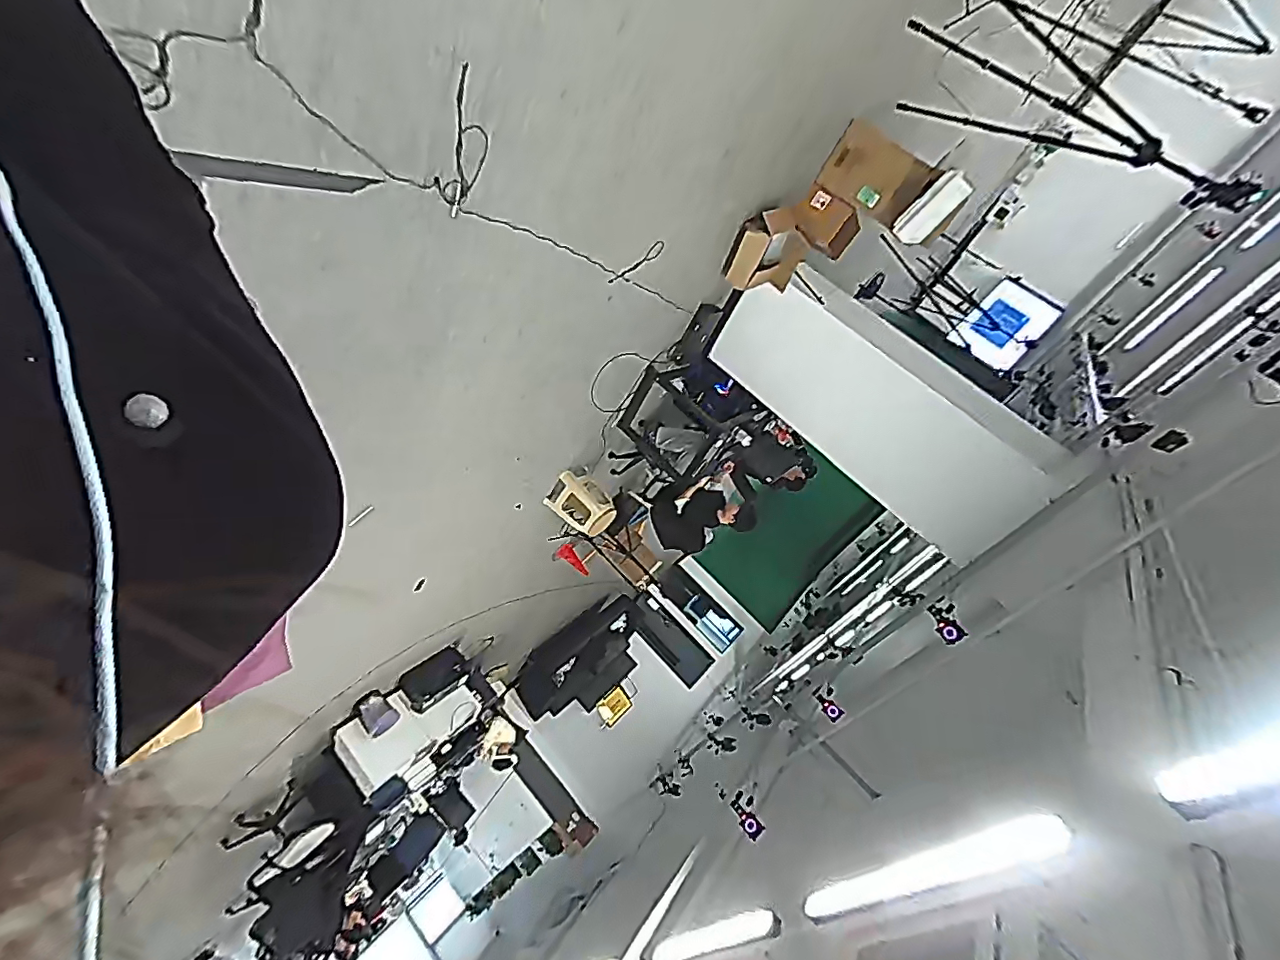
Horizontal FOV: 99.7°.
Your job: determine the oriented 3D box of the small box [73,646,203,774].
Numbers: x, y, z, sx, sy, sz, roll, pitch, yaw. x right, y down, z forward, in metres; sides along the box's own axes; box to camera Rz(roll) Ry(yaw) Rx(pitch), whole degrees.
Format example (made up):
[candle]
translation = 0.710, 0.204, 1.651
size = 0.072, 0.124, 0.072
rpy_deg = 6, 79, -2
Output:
[small box]
translation = -1.106, 0.497, 1.198
size = 0.168, 0.176, 0.179
rpy_deg = -25, 153, -51
